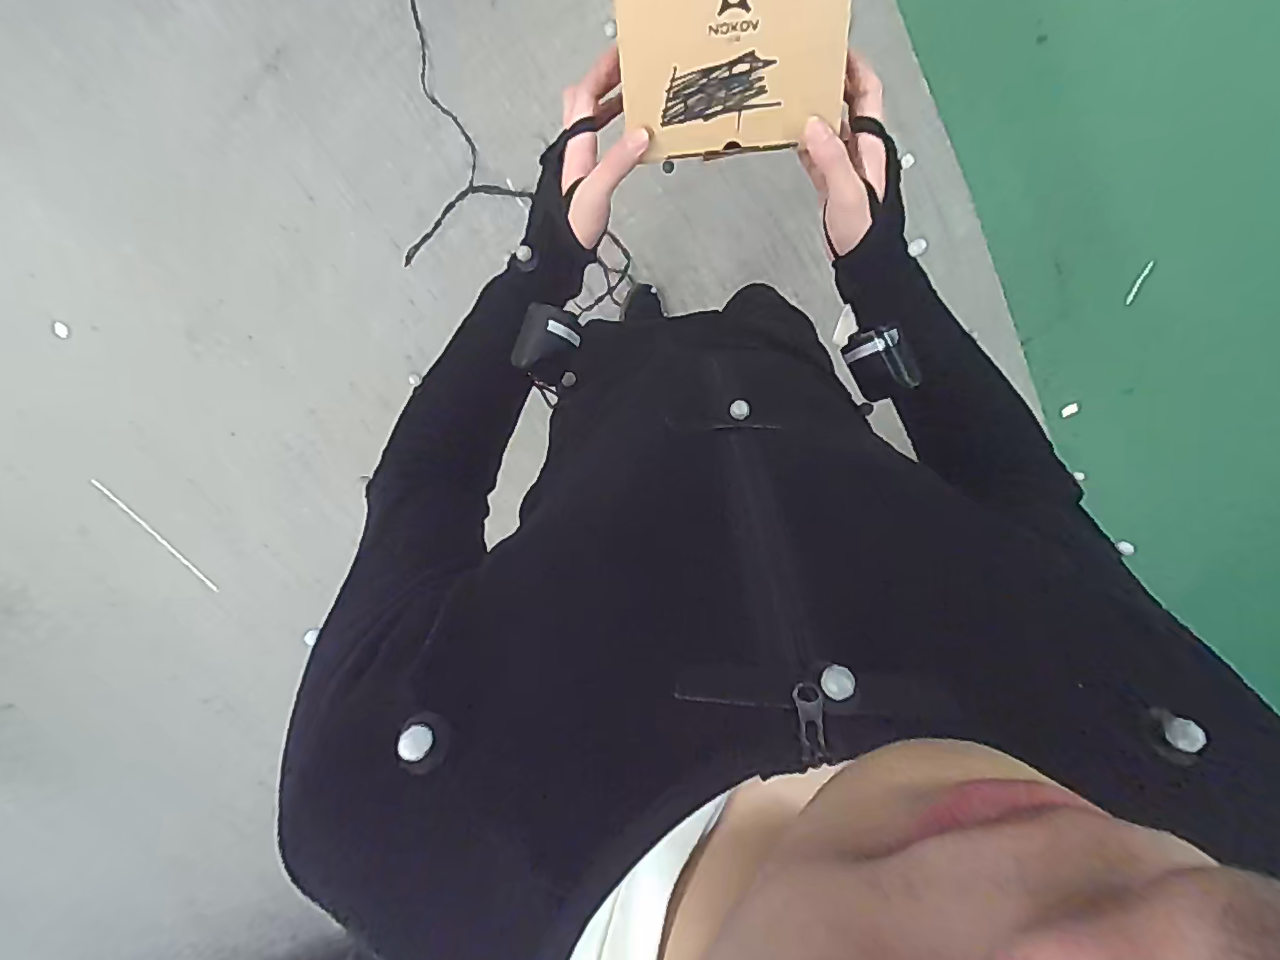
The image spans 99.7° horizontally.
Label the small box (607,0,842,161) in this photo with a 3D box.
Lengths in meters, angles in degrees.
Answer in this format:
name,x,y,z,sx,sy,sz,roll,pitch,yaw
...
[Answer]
name,x,y,z,sx,sy,sz,roll,pitch,yaw
small box,0.063,-0.375,0.448,0.168,0.176,0.179,-3,121,4
